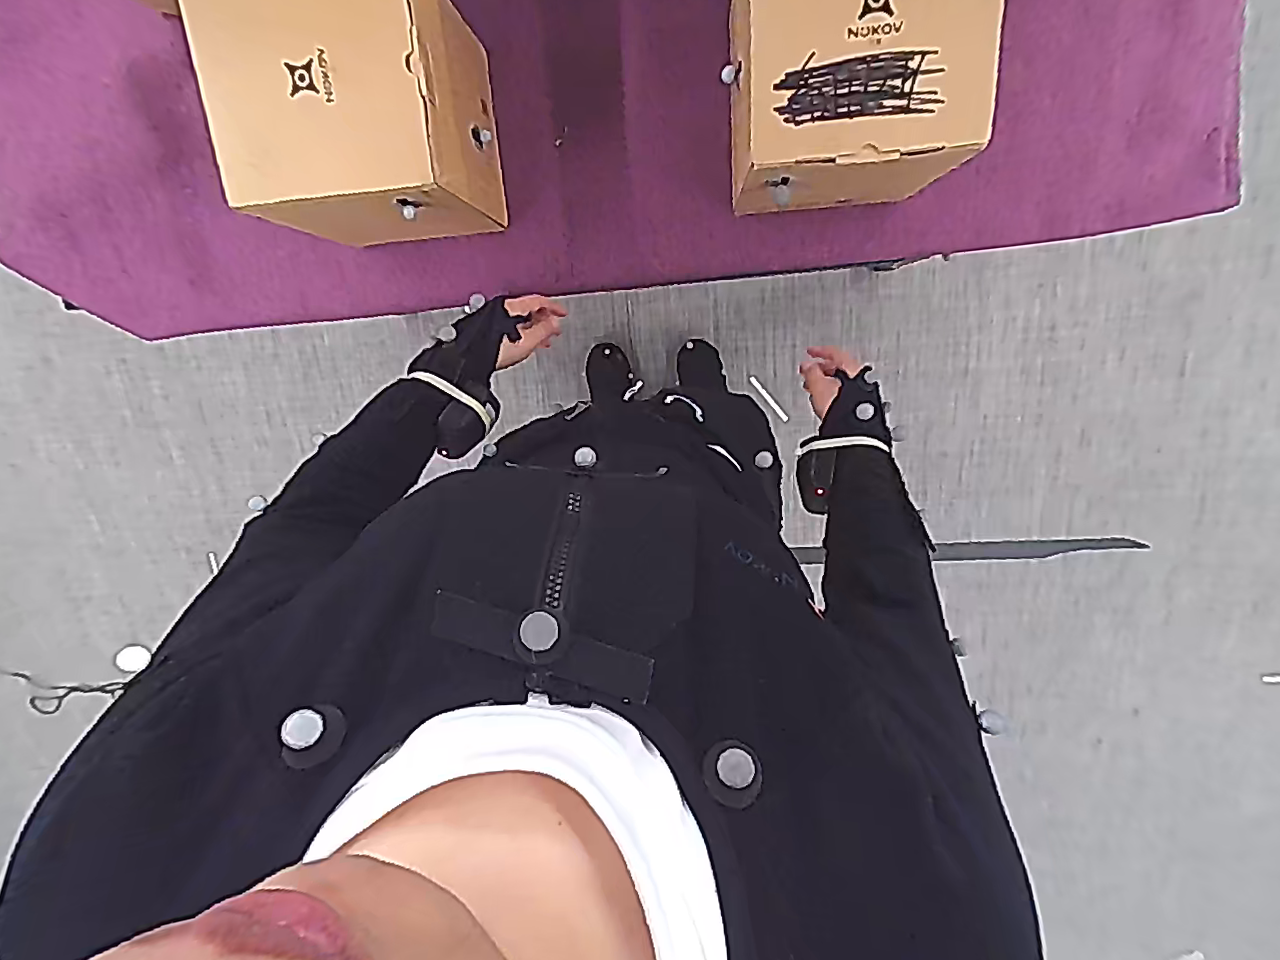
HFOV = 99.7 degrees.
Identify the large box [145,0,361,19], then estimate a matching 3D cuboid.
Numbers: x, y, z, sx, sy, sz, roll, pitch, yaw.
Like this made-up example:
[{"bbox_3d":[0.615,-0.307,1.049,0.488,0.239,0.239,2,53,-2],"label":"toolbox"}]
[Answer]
[{"bbox_3d":[-0.348,-0.619,0.342,0.320,0.320,0.408,-2,108,6],"label":"large box"}]
